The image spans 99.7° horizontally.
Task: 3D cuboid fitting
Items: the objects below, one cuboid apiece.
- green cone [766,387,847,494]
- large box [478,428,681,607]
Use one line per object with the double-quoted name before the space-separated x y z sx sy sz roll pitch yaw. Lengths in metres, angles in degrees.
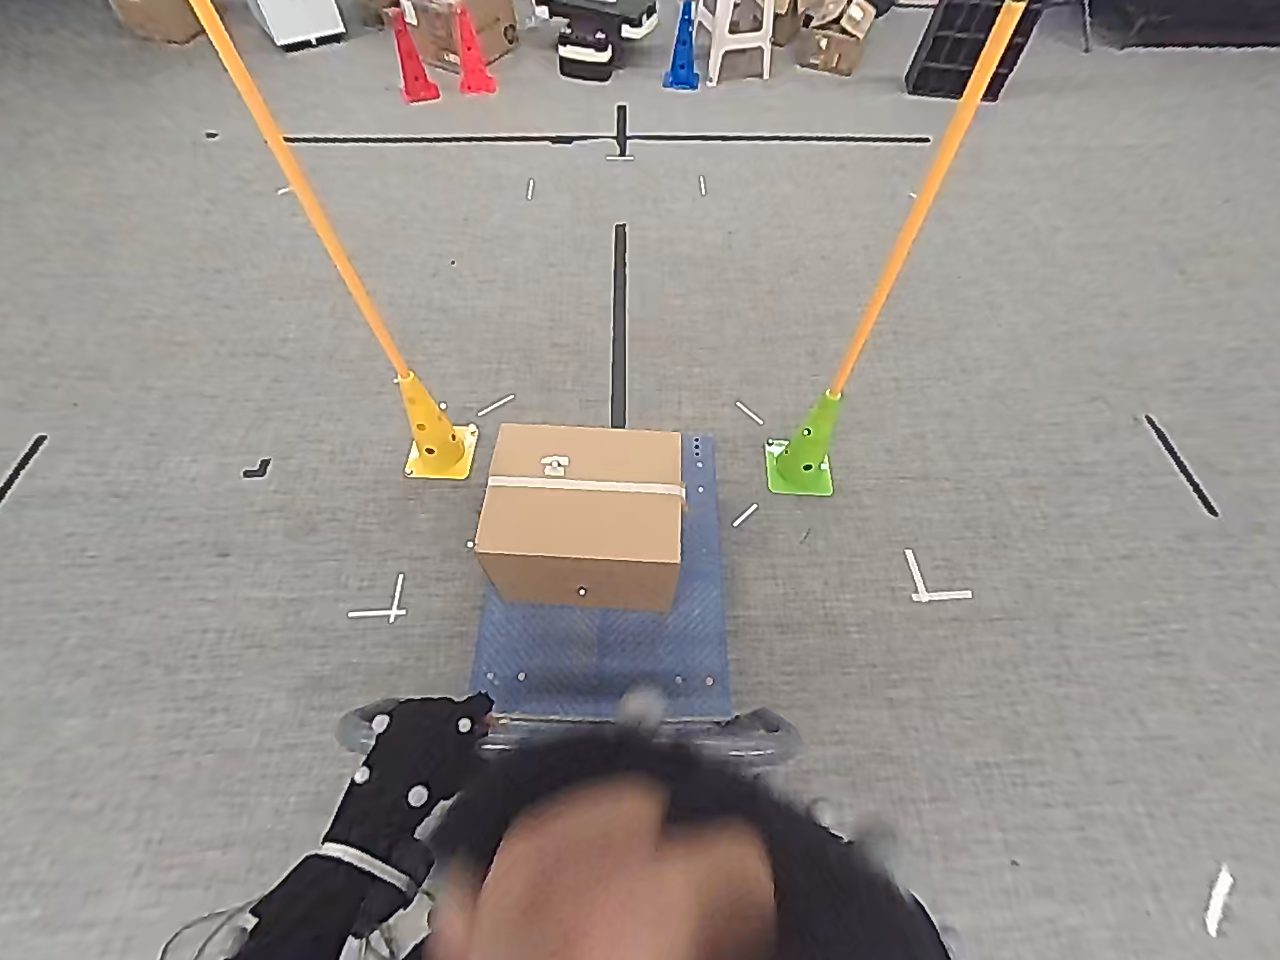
"green cone" 0.514 -0.135 1.578 0.202 0.368 0.200 4 59 -1
"large box" -0.113 0.096 1.255 0.408 0.320 0.320 3 59 1
